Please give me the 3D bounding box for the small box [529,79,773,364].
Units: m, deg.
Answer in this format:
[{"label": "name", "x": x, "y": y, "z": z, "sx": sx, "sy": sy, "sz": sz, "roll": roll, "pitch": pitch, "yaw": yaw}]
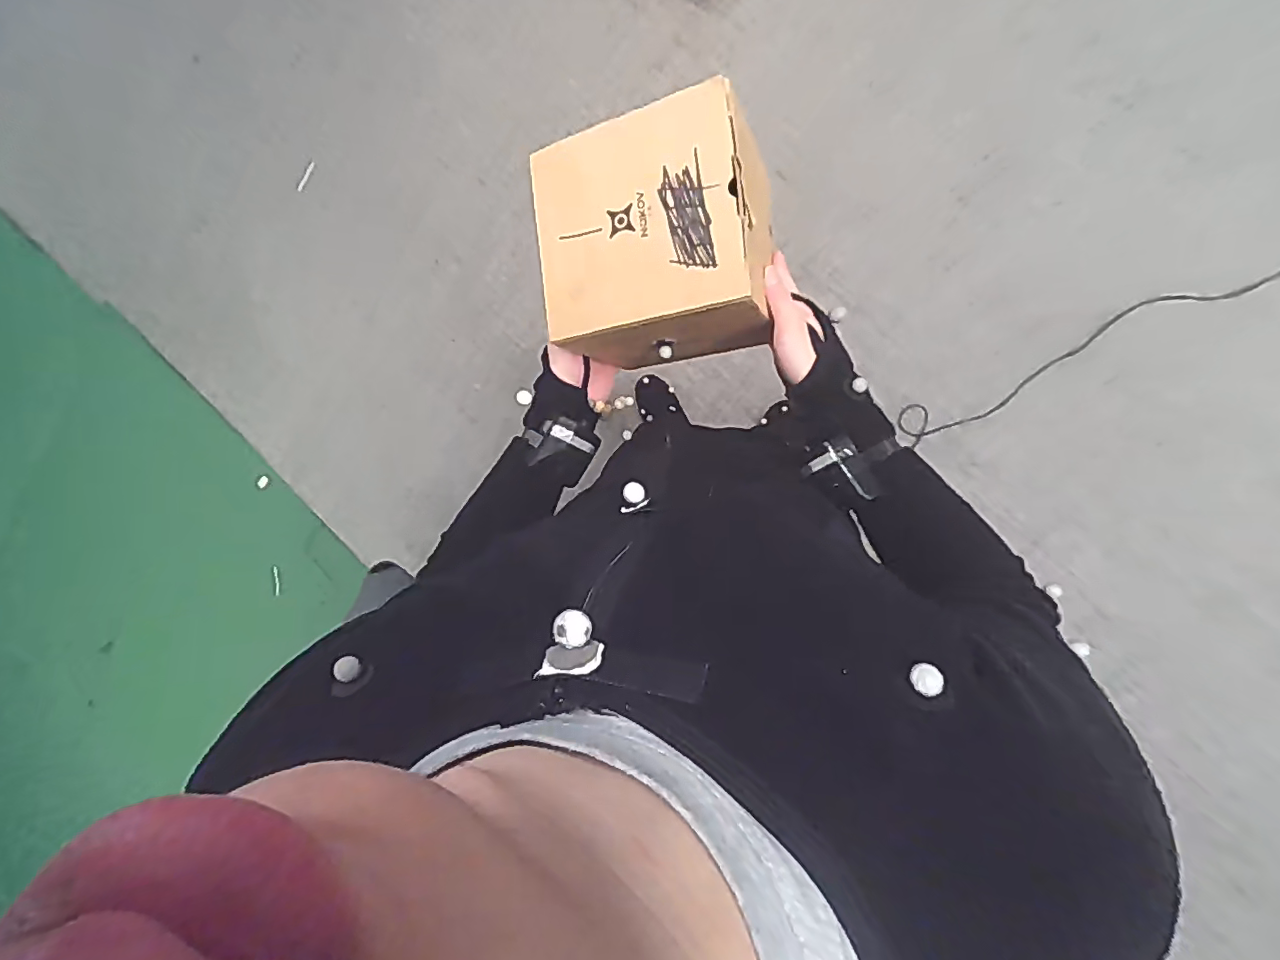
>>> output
[{"label": "small box", "x": 0.023, "y": -0.211, "z": 0.502, "sx": 0.179, "sy": 0.176, "sz": 0.168, "roll": -5, "pitch": 90, "yaw": 24}]
